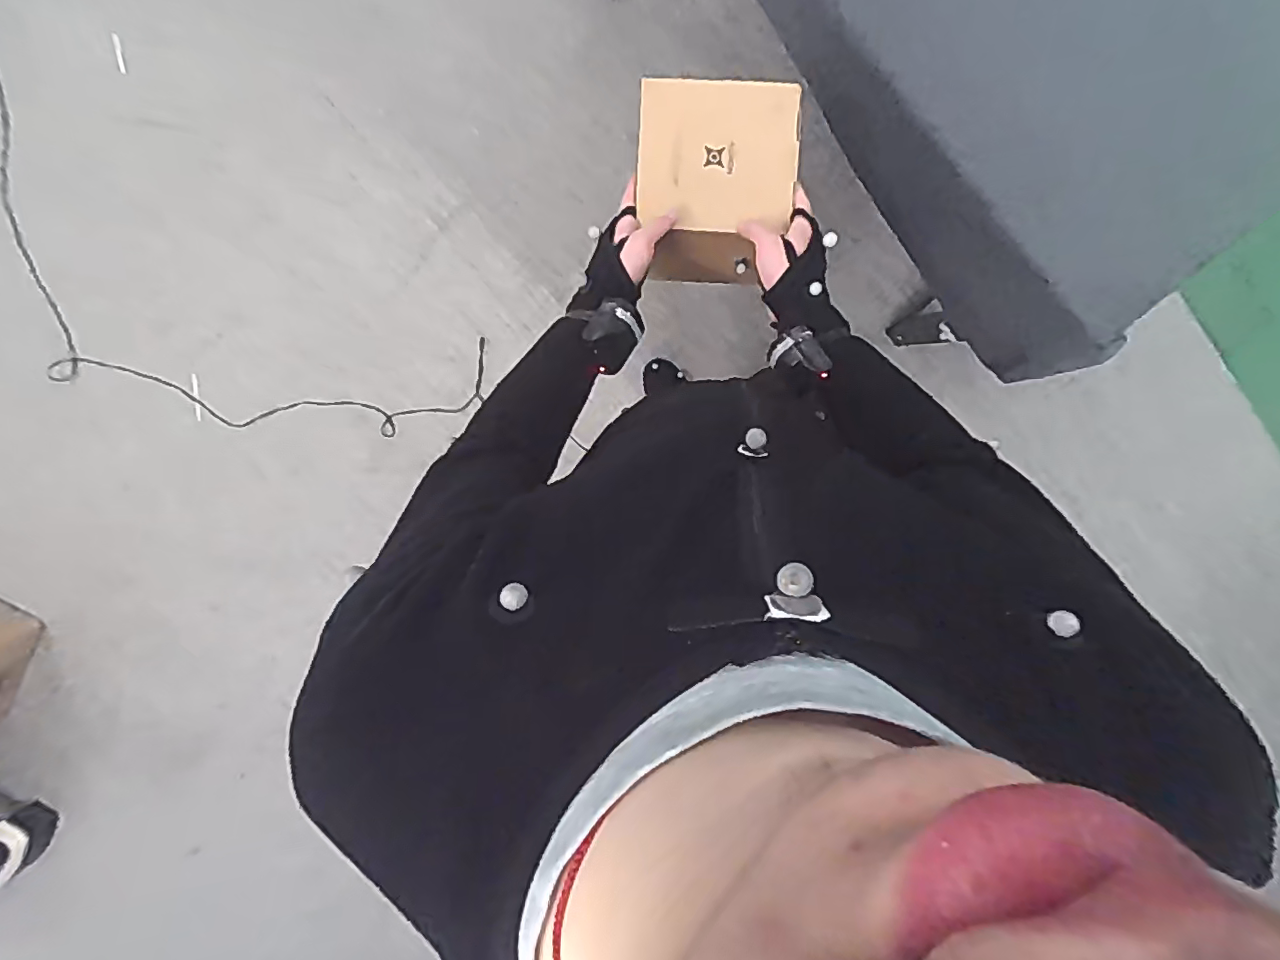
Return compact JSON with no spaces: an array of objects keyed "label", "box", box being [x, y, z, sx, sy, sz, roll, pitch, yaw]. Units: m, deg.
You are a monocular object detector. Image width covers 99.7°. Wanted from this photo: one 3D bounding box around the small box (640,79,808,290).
[{"label":"small box","box":[0.089,-0.339,0.651,0.179,0.176,0.168,1,89,1]}]
